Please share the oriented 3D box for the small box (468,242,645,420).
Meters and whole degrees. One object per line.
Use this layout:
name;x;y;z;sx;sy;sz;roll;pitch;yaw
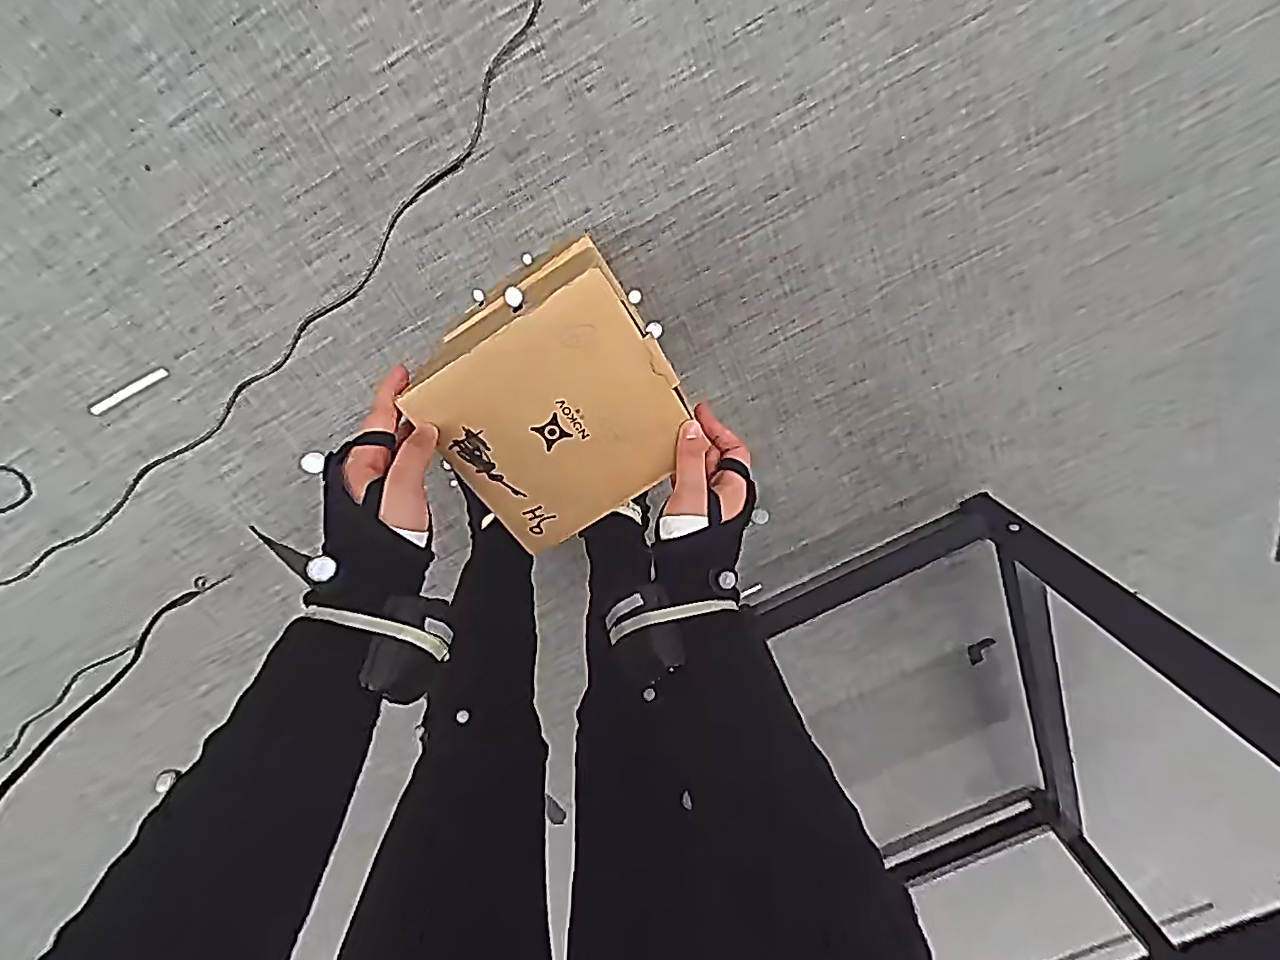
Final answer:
small box;-0.115;-0.219;0.770;0.179;0.176;0.168;-30;116;8
